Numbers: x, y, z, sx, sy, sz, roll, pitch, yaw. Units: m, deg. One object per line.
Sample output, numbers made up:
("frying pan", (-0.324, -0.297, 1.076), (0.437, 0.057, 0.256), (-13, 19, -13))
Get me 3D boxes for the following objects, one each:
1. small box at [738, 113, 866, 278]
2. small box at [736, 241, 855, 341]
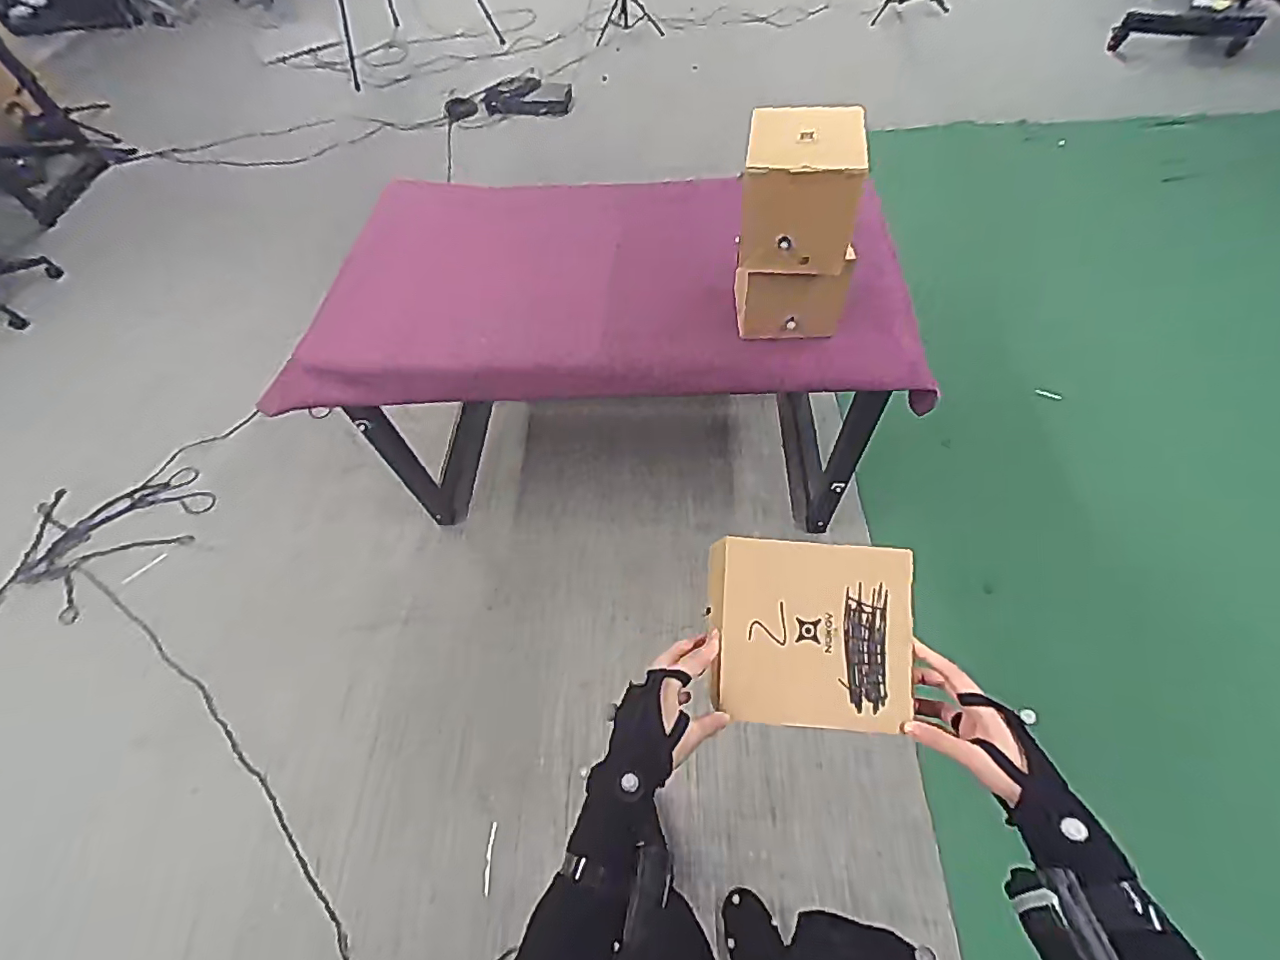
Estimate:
("small box", (0.246, -0.447, 0.852), (0.168, 0.176, 0.179), (5, 58, 10))
("small box", (0.275, -0.374, 0.997), (0.179, 0.176, 0.168), (-1, 56, 5))
